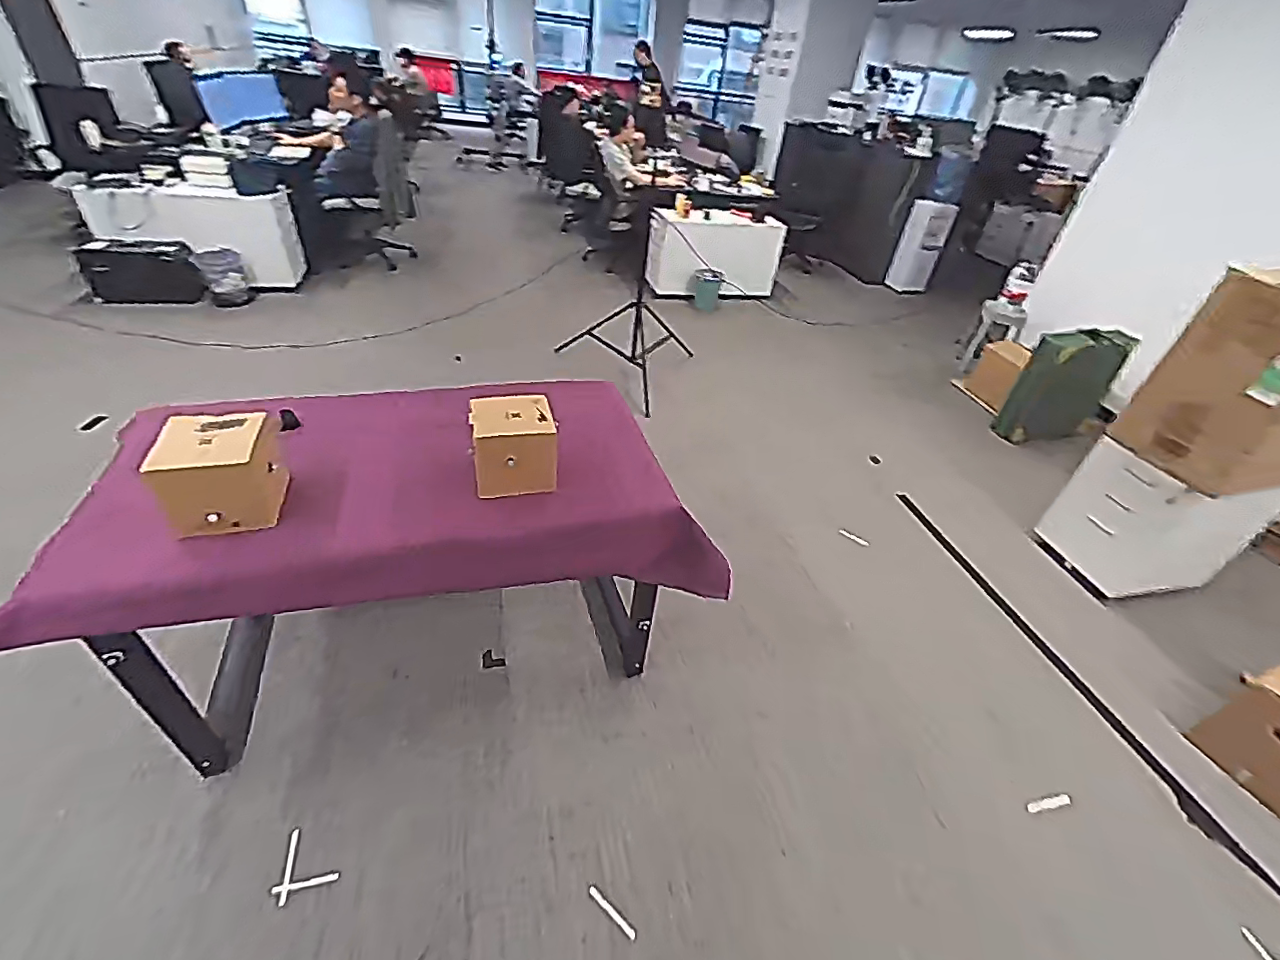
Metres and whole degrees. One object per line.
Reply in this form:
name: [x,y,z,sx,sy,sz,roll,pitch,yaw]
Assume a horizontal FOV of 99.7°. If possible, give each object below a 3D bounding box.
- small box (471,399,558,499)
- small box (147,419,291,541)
small box: [-0.290,-0.070,1.257,0.179,0.176,0.168,-7,40,-16]
small box: [-0.823,-0.003,1.081,0.168,0.176,0.179,-7,40,-17]
